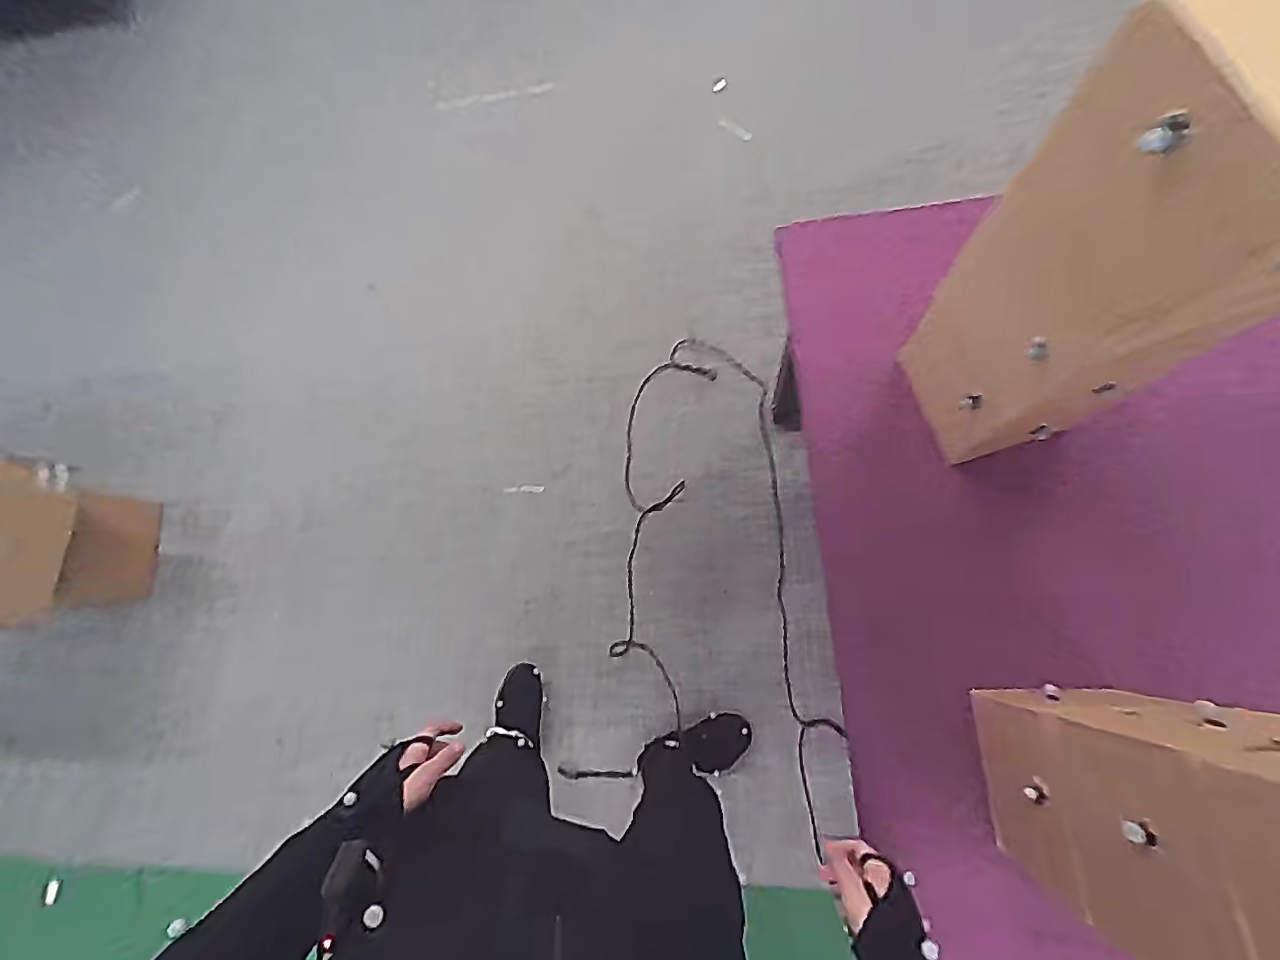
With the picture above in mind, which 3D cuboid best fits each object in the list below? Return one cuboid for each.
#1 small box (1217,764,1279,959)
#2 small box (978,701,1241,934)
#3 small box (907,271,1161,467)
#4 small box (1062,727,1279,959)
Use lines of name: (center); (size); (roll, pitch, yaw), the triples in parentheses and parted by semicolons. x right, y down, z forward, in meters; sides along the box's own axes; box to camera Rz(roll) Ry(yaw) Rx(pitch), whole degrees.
small box: (0.445, 0.245, 0.246); (0.168, 0.176, 0.179); (-5, 73, 7)
small box: (0.482, 0.331, 0.561); (0.168, 0.176, 0.179); (-2, 74, 7)
small box: (0.475, -0.128, 0.687); (0.168, 0.176, 0.179); (-17, 73, 2)
small box: (0.464, 0.288, 0.404); (0.168, 0.176, 0.179); (-4, 73, 7)
